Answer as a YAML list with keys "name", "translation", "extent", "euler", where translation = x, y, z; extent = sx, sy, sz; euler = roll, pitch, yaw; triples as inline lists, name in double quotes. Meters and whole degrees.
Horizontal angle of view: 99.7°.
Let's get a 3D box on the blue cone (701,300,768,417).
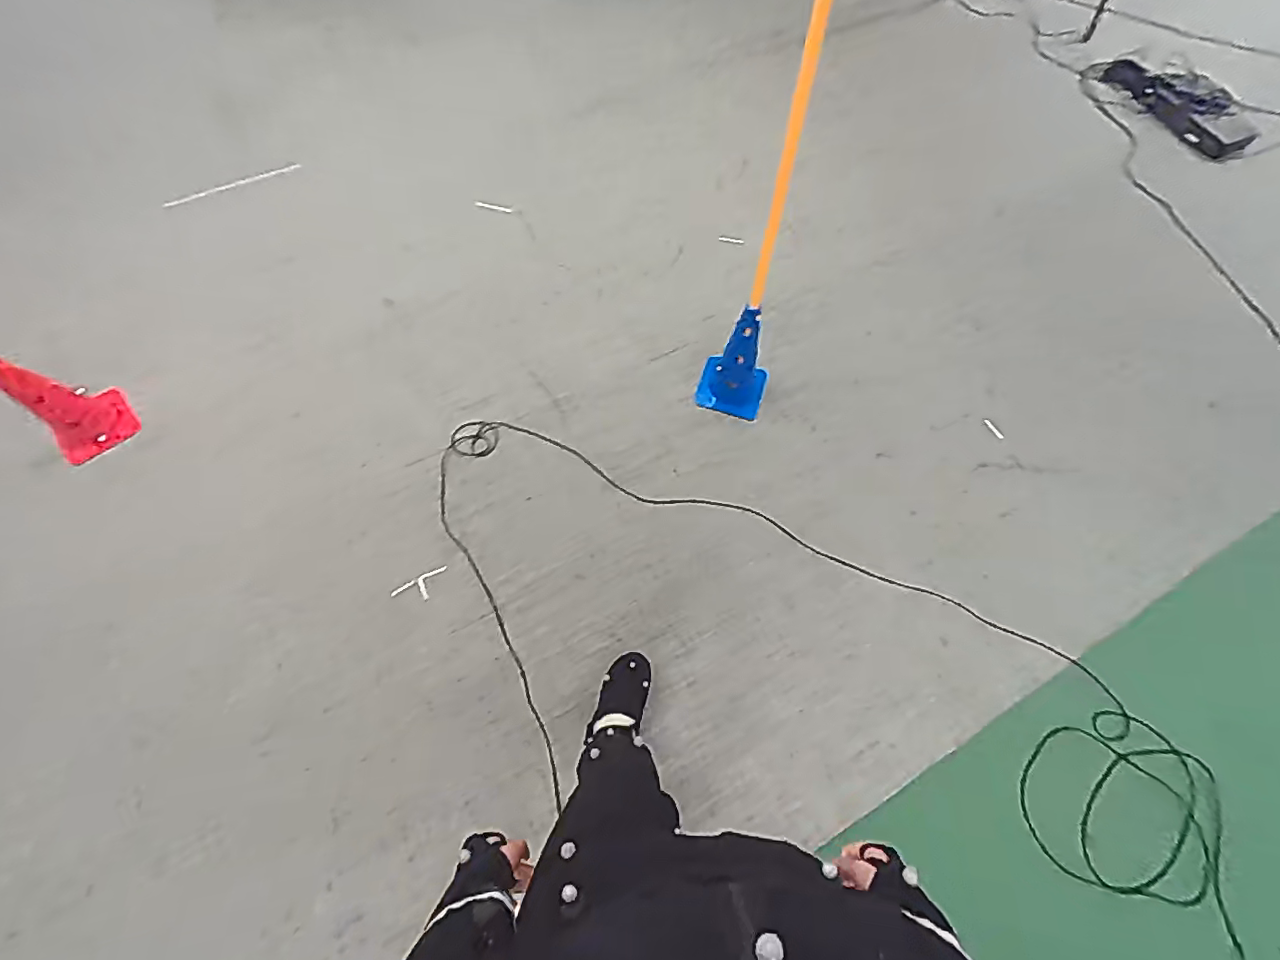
- name: "blue cone"
  translation: [0.293, -0.359, 1.526]
  extent: [0.192, 0.380, 0.193]
  euler: [15, 64, 7]
